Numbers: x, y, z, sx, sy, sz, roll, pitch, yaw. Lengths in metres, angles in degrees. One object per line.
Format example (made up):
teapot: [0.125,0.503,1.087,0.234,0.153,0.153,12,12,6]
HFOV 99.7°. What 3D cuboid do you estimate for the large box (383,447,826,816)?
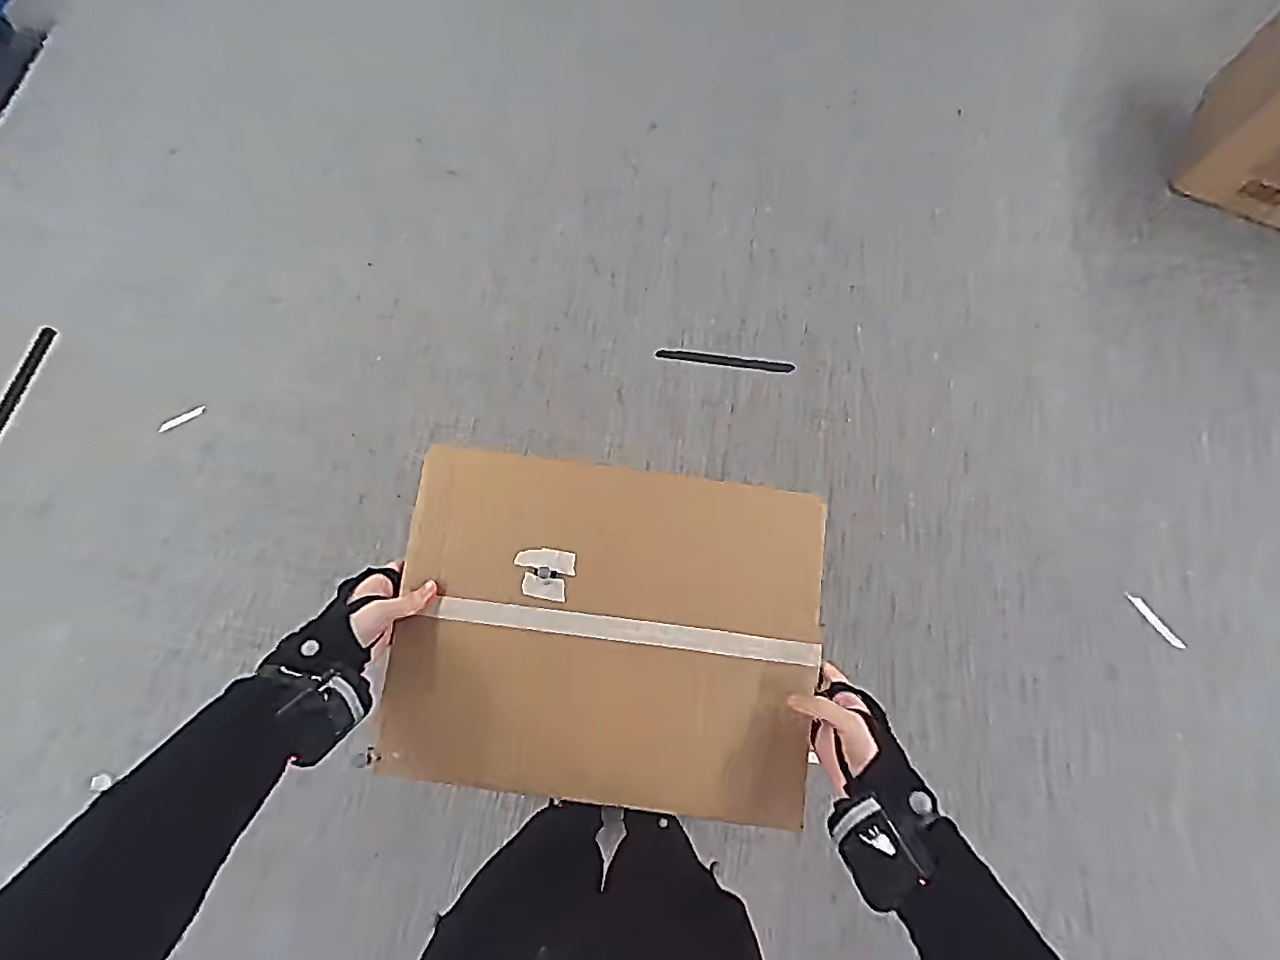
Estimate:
large box: [-0.024,0.159,0.668,0.408,0.320,0.320,7,81,2]
